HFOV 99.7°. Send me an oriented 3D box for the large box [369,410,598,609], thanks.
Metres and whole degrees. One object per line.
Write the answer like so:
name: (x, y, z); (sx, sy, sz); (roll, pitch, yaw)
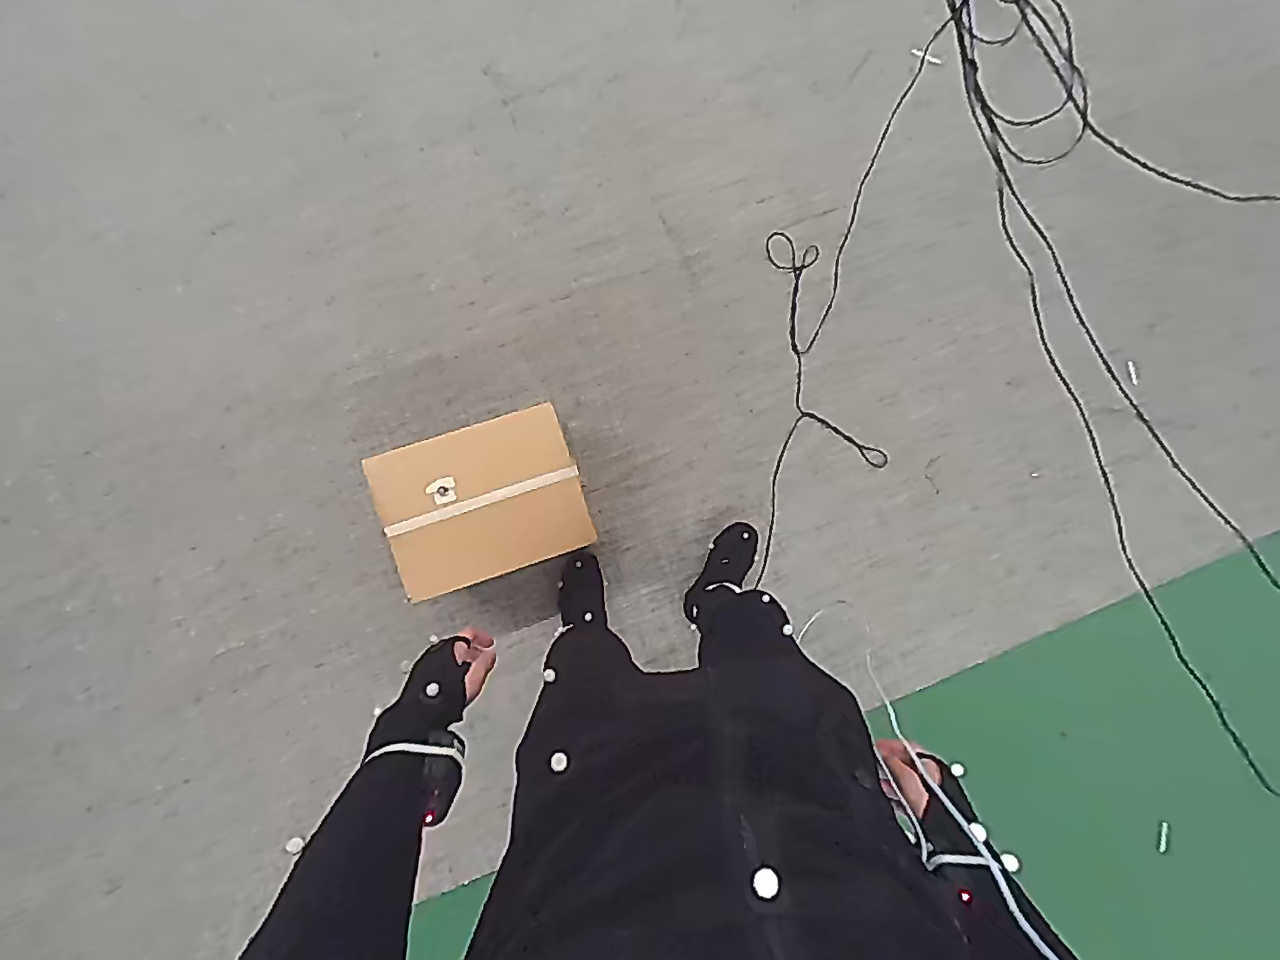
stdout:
large box: (-0.336, 0.059, 1.275); (0.408, 0.320, 0.320); (-19, 90, -5)
